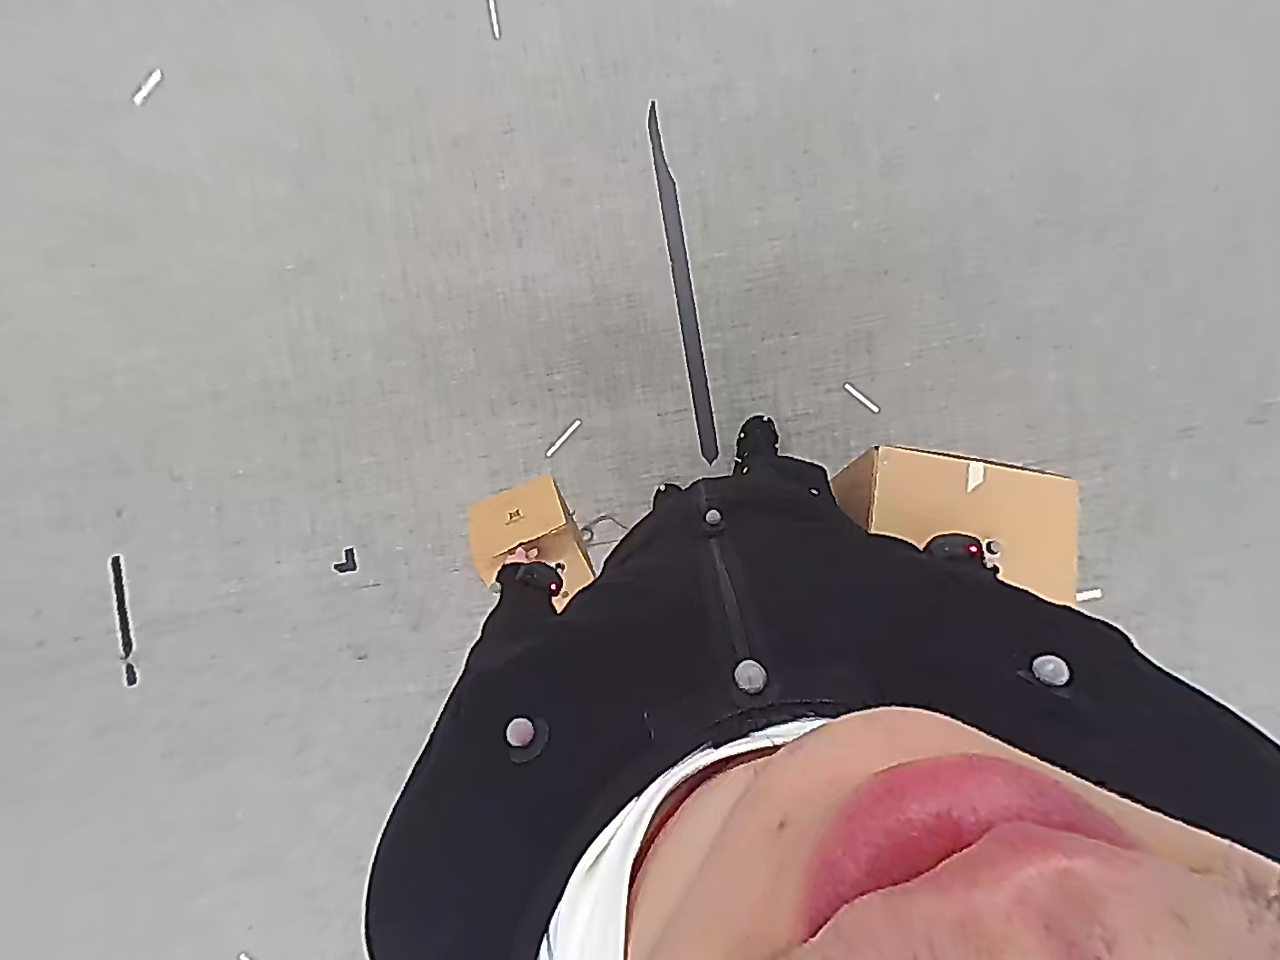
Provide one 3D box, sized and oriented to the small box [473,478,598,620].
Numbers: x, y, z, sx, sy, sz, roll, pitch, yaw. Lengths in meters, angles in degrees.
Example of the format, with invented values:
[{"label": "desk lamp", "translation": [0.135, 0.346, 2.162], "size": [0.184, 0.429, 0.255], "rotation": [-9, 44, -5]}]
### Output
[{"label": "small box", "translation": [-0.191, 0.131, 0.992], "size": [0.168, 0.179, 0.176], "rotation": [-24, 124, -5]}]
